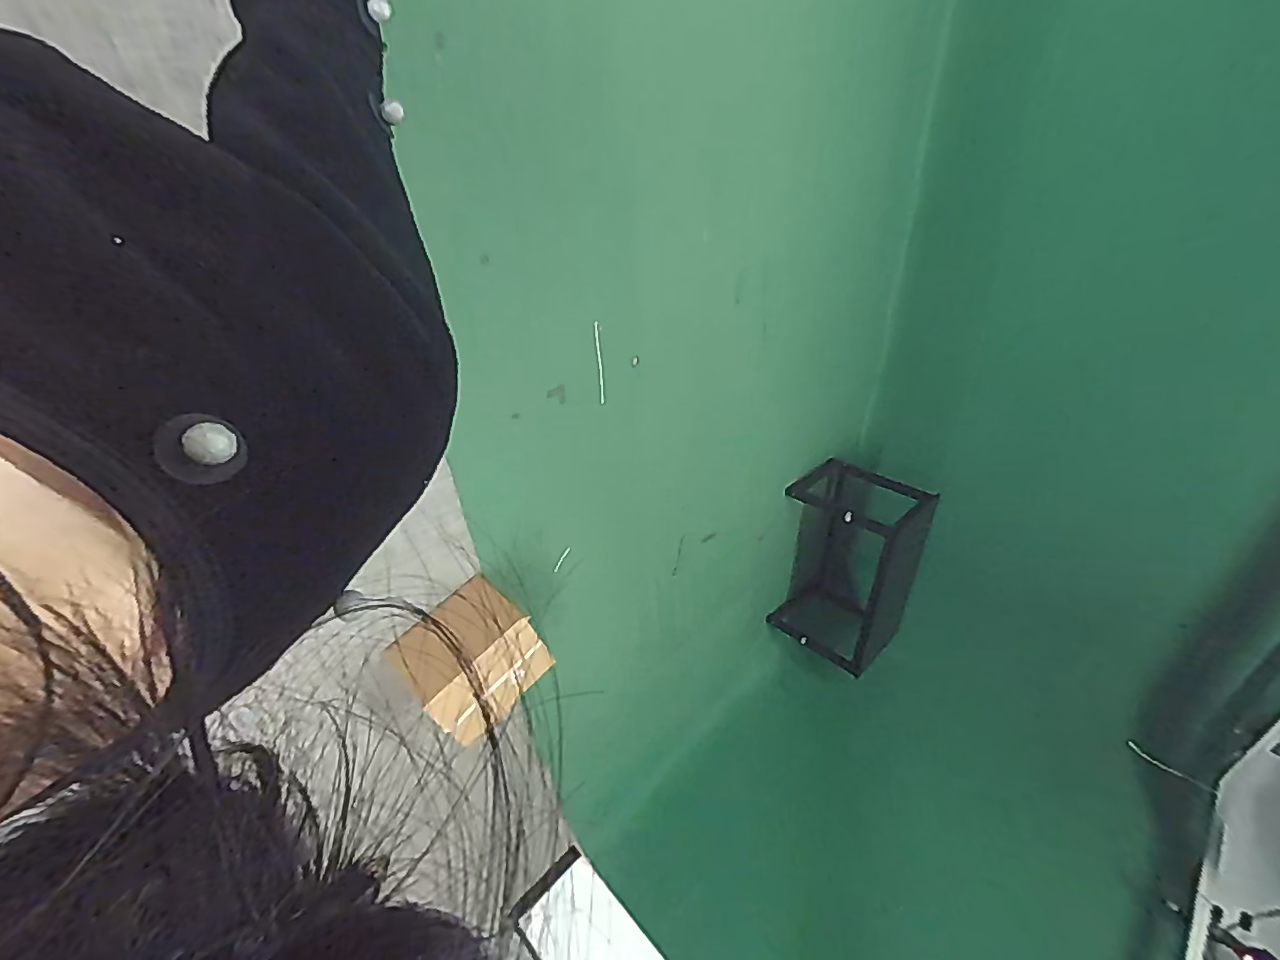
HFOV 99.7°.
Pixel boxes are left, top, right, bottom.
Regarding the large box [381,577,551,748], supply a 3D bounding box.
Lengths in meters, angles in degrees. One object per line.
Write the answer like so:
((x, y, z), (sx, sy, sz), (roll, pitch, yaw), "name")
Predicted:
((-0.597, 0.623, 1.884), (0.408, 0.320, 0.320), (-42, 138, -25), "large box")
